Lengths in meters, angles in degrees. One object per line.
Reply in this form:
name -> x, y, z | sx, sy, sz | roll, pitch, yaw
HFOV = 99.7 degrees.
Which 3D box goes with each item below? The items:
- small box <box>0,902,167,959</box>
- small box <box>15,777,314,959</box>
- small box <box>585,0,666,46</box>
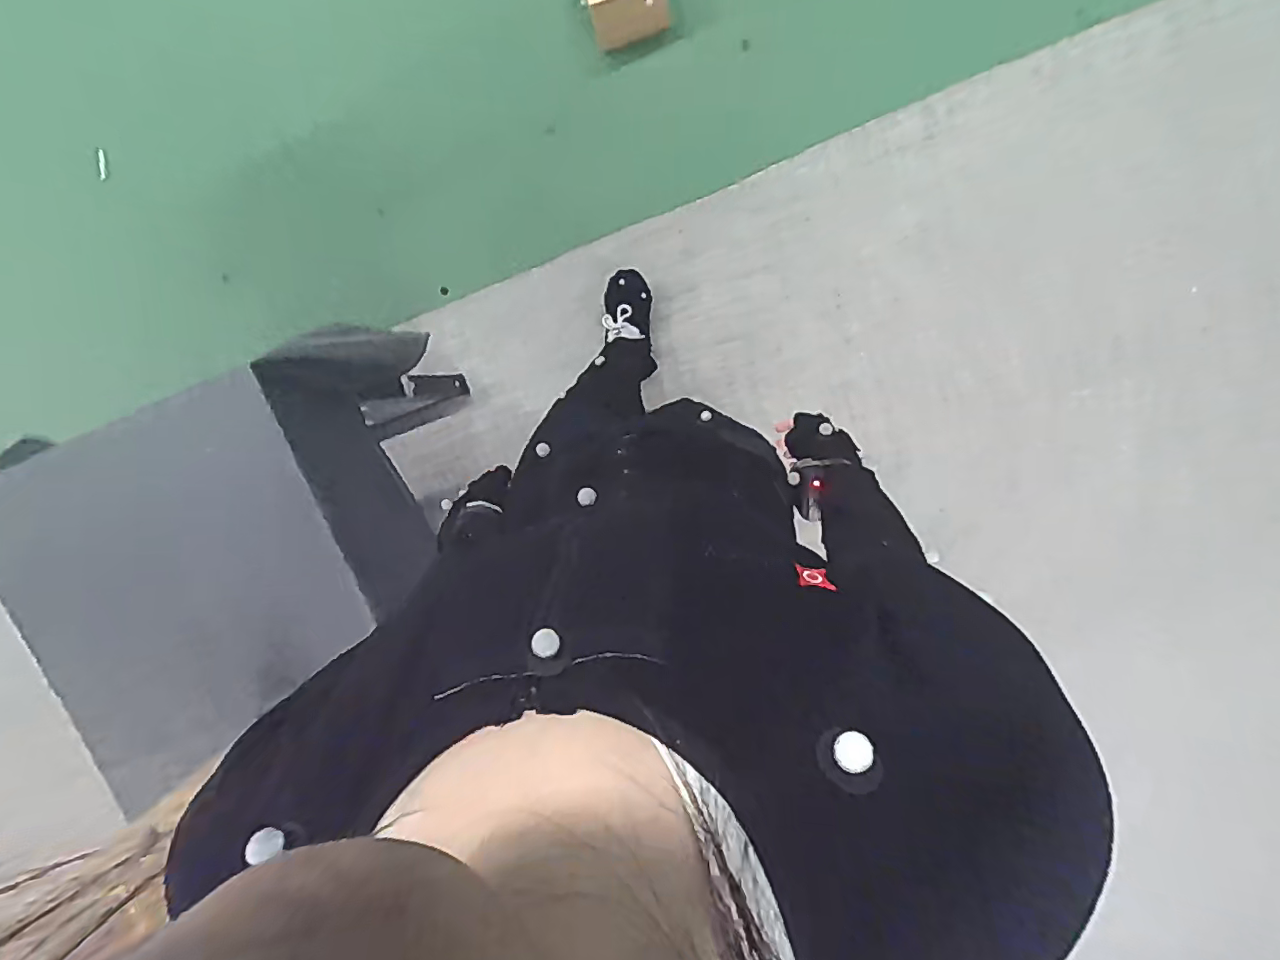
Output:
small box -> -0.565, 0.524, 0.486 | 0.168, 0.176, 0.179 | -18, 98, 10
small box -> -0.543, 0.488, 0.644 | 0.168, 0.176, 0.179 | -20, 98, 10
small box -> -0.045, -1.109, 1.183 | 0.179, 0.176, 0.168 | -16, 99, 9
